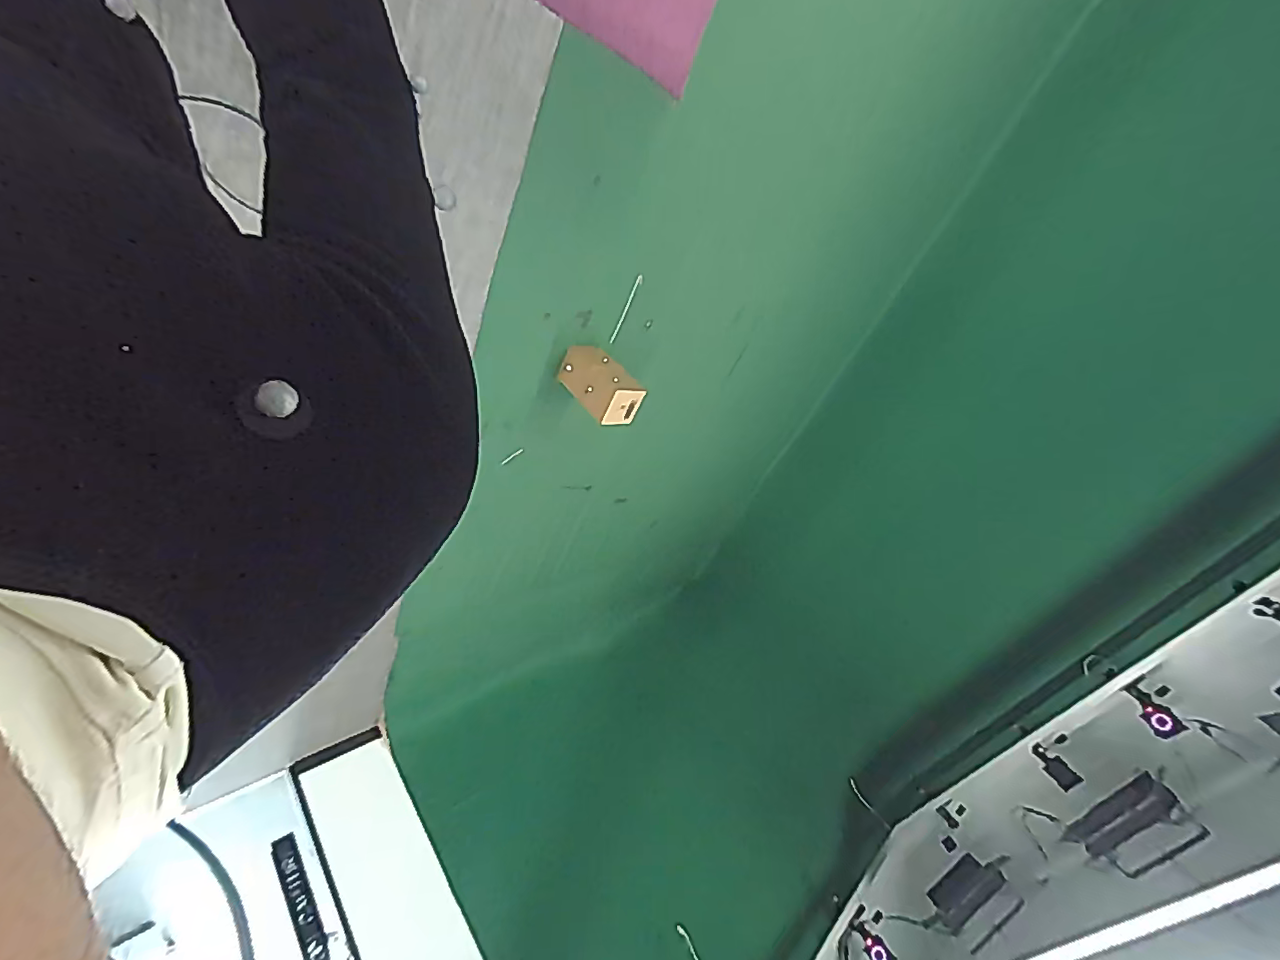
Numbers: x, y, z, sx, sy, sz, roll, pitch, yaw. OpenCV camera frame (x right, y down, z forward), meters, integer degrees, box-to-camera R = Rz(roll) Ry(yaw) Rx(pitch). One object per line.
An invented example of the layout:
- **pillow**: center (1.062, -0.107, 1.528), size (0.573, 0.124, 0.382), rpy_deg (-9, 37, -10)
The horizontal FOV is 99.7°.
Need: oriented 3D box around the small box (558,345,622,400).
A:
- **small box**: center (-0.214, -0.456, 2.291), size (0.179, 0.176, 0.168), rpy_deg (-8, 136, -47)
